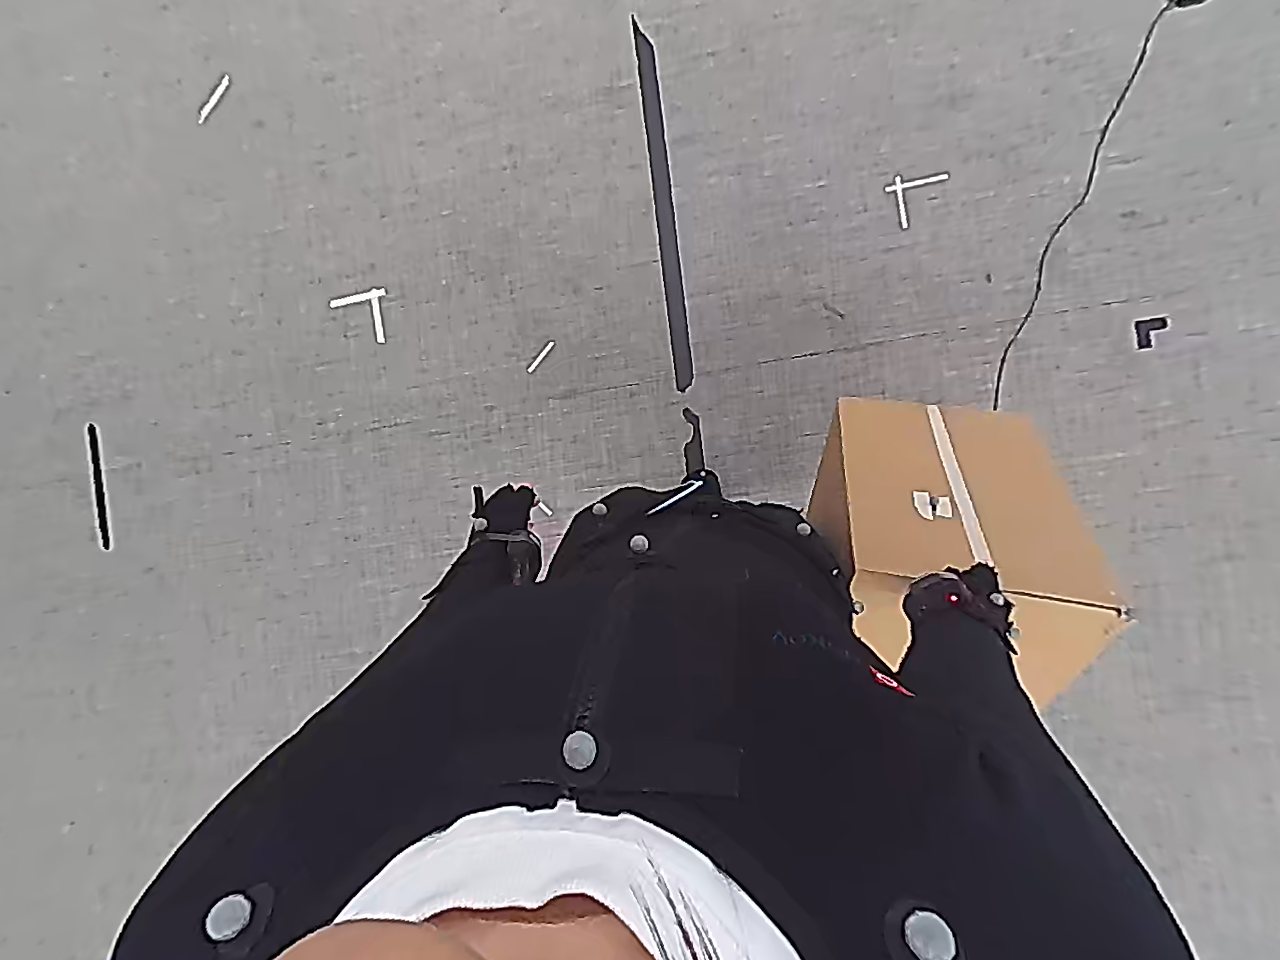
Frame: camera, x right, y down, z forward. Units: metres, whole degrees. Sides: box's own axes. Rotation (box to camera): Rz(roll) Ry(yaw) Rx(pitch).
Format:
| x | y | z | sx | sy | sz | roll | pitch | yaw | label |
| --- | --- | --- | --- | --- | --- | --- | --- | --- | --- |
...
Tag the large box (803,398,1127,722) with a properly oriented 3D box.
| x | y | z | sx | sy | sz | roll | pitch | yaw | label |
| --- | --- | --- | --- | --- | --- | --- | --- | --- | --- |
| 0.460 | 0.115 | 0.896 | 0.320 | 0.408 | 0.320 | 7 | 134 | 10 | large box |
